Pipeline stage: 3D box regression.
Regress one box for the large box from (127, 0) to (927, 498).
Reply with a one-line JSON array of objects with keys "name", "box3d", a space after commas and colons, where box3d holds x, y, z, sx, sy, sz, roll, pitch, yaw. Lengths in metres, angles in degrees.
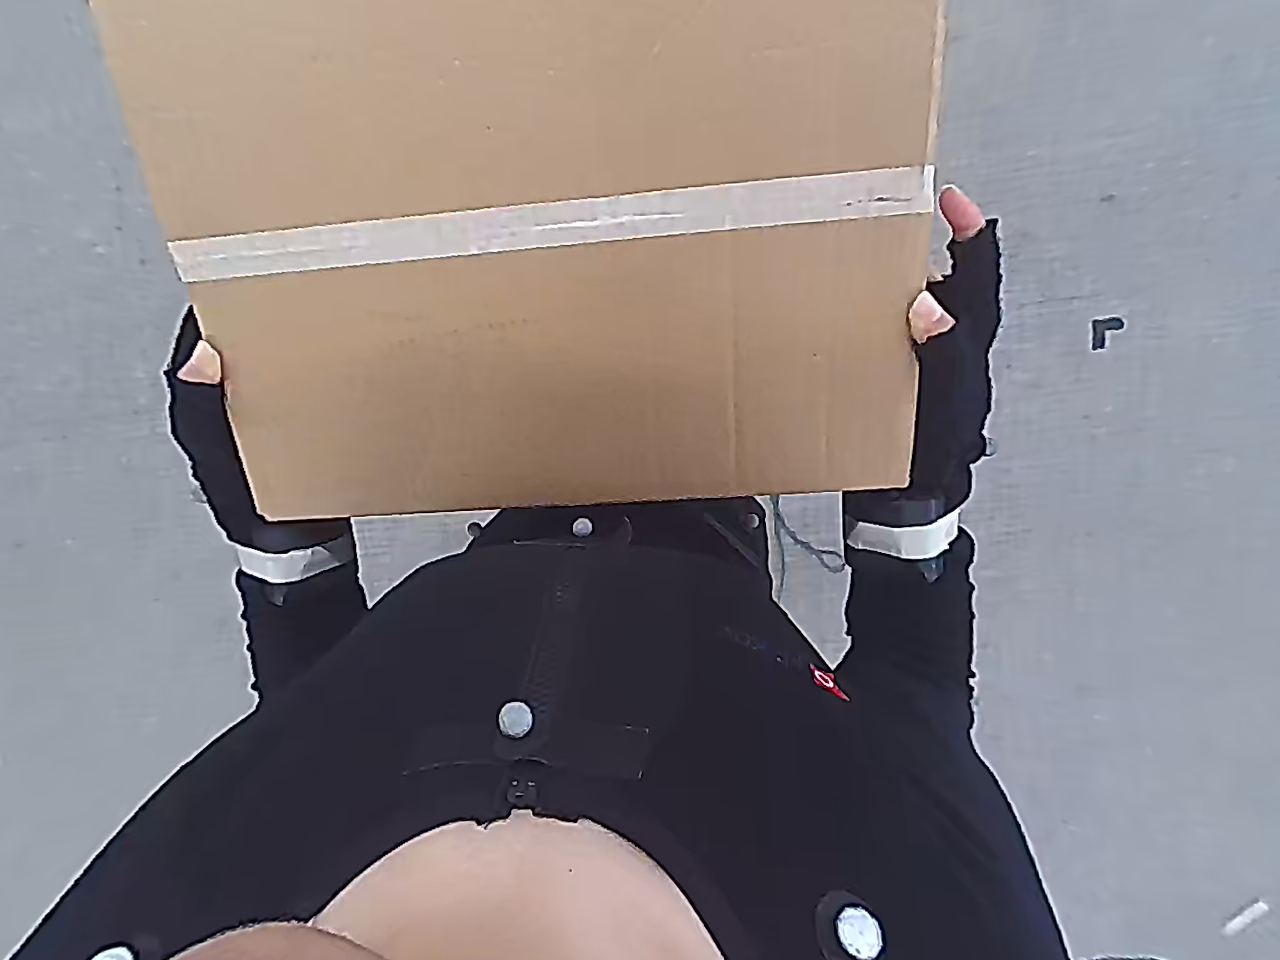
[{"name": "large box", "box3d": [-0.048, -0.192, 0.437, 0.408, 0.320, 0.320, -3, 109, 4]}]
